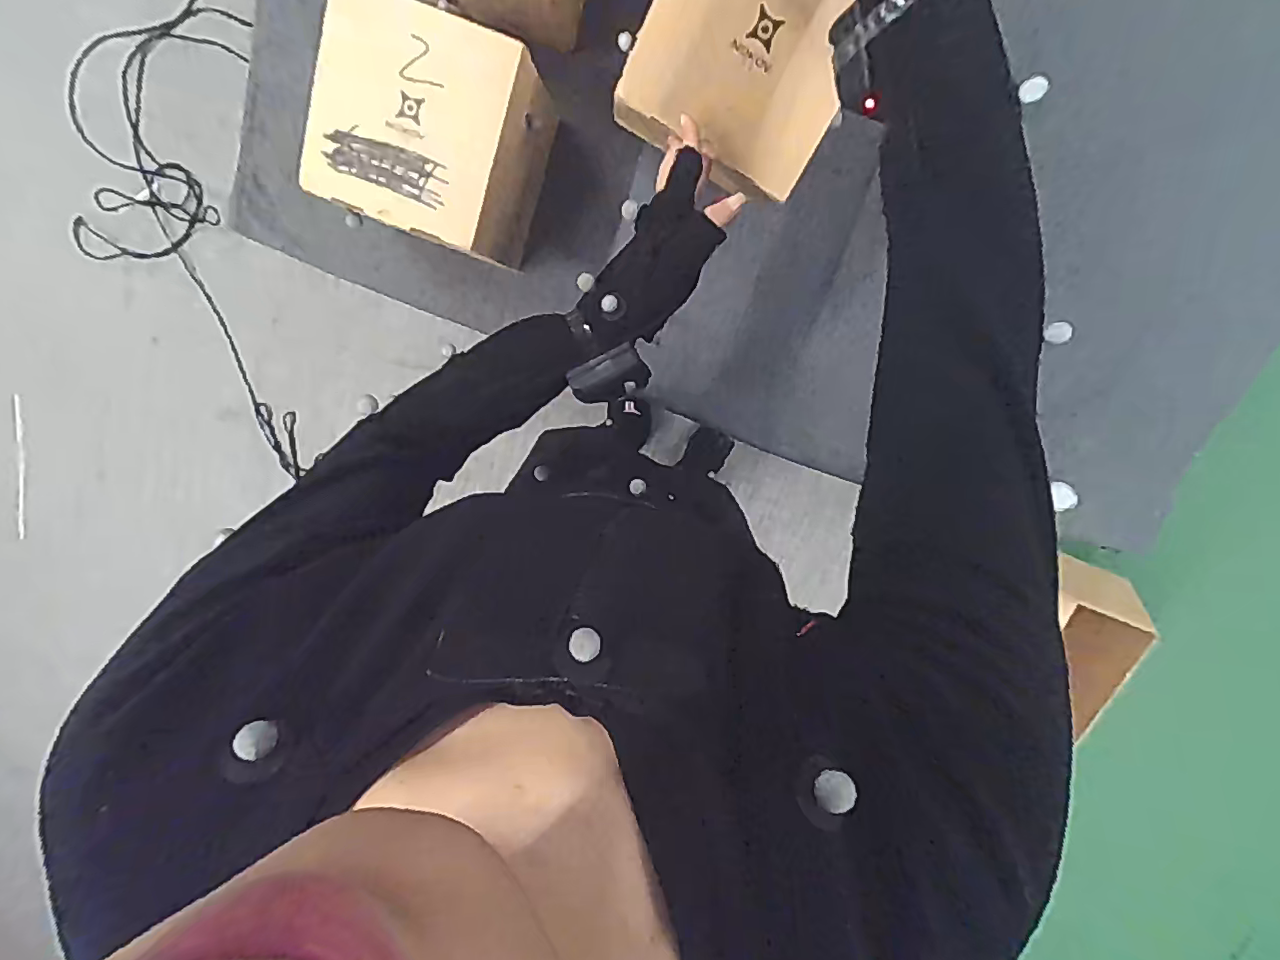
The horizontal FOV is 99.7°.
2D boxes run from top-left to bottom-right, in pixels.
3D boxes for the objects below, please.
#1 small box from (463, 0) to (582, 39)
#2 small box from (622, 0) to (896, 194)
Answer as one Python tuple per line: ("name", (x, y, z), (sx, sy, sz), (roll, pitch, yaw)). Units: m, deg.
("small box", (-0.128, -0.548, 0.481), (0.168, 0.176, 0.179), (18, 107, -3))
("small box", (0.089, -0.386, 0.480), (0.168, 0.176, 0.179), (22, 117, -16))
